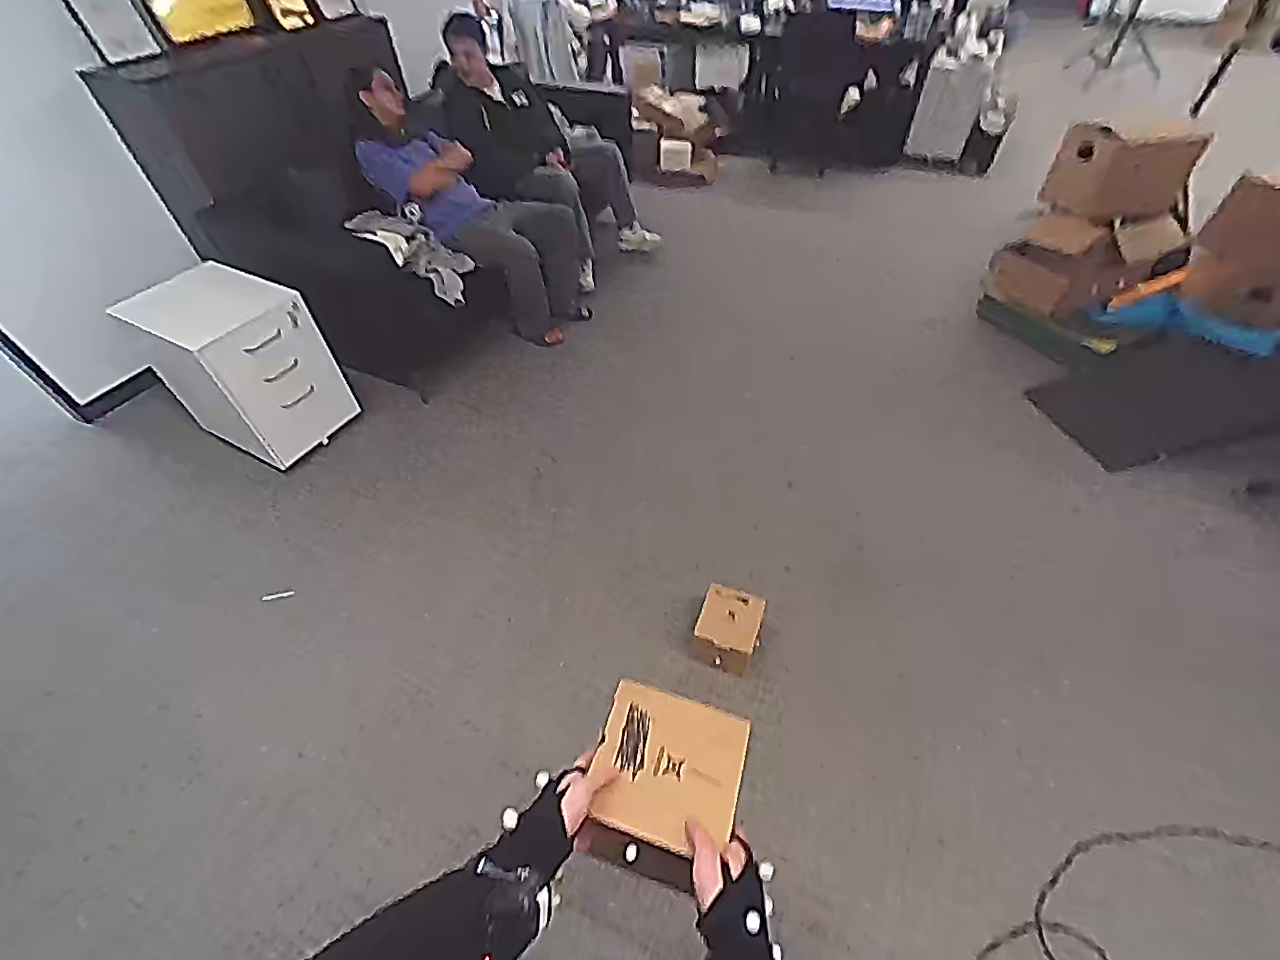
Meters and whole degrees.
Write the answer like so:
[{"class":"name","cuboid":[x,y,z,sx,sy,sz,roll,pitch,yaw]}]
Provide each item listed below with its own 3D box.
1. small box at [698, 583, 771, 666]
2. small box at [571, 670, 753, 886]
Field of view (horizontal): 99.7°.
[{"class":"small box","cuboid":[0.270,0.426,1.580,0.179,0.176,0.168,-8,46,-3]},{"class":"small box","cuboid":[0.029,0.386,0.699,0.179,0.176,0.168,18,46,16]}]
